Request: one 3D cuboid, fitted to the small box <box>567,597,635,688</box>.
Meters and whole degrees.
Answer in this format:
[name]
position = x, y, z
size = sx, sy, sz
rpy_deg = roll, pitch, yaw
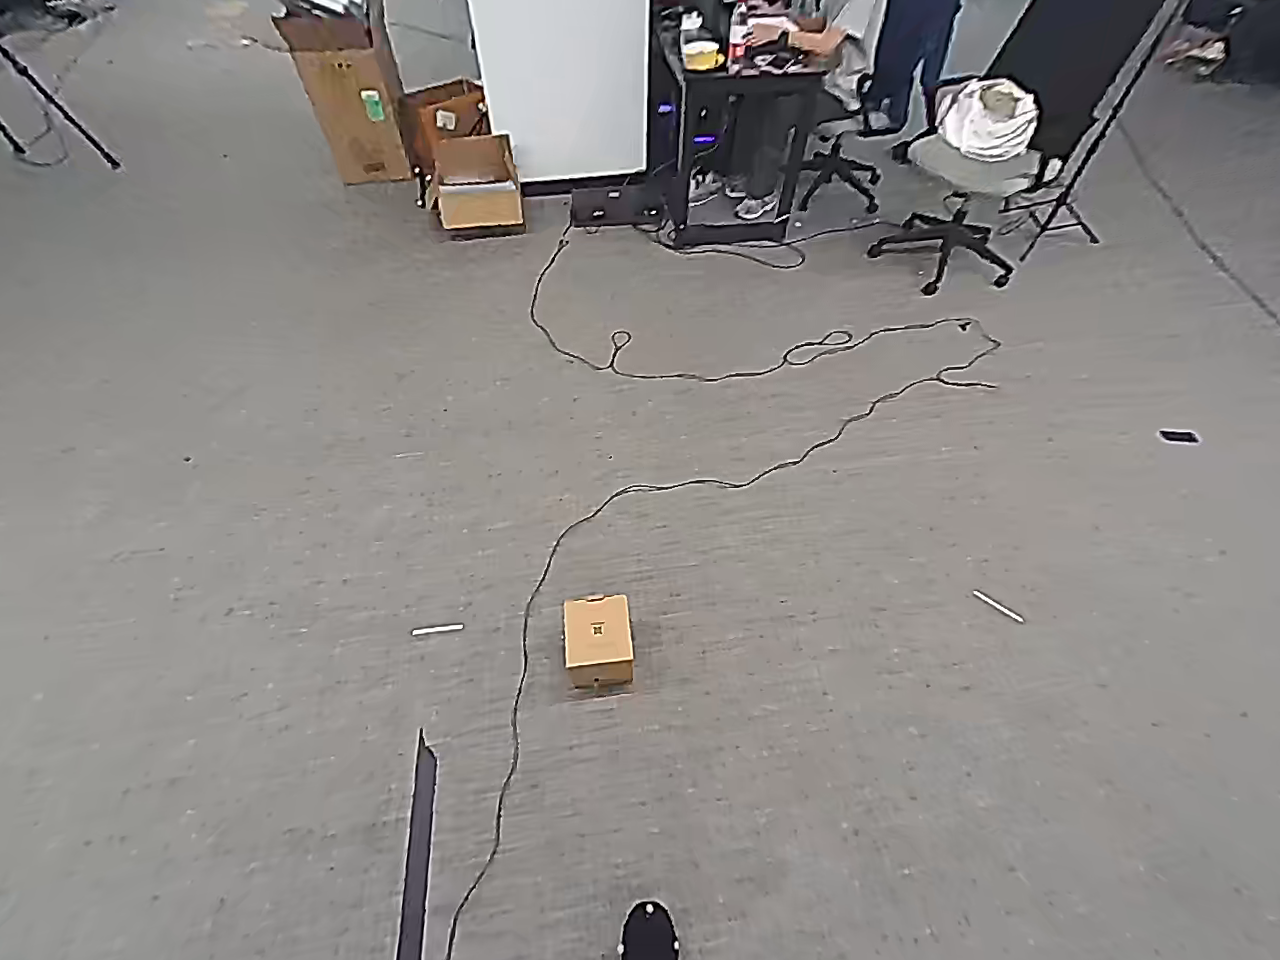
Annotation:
[small box]
position = -0.101, 0.427, 1.415
size = 0.168, 0.176, 0.179
rpy_deg = -5, 54, -3
